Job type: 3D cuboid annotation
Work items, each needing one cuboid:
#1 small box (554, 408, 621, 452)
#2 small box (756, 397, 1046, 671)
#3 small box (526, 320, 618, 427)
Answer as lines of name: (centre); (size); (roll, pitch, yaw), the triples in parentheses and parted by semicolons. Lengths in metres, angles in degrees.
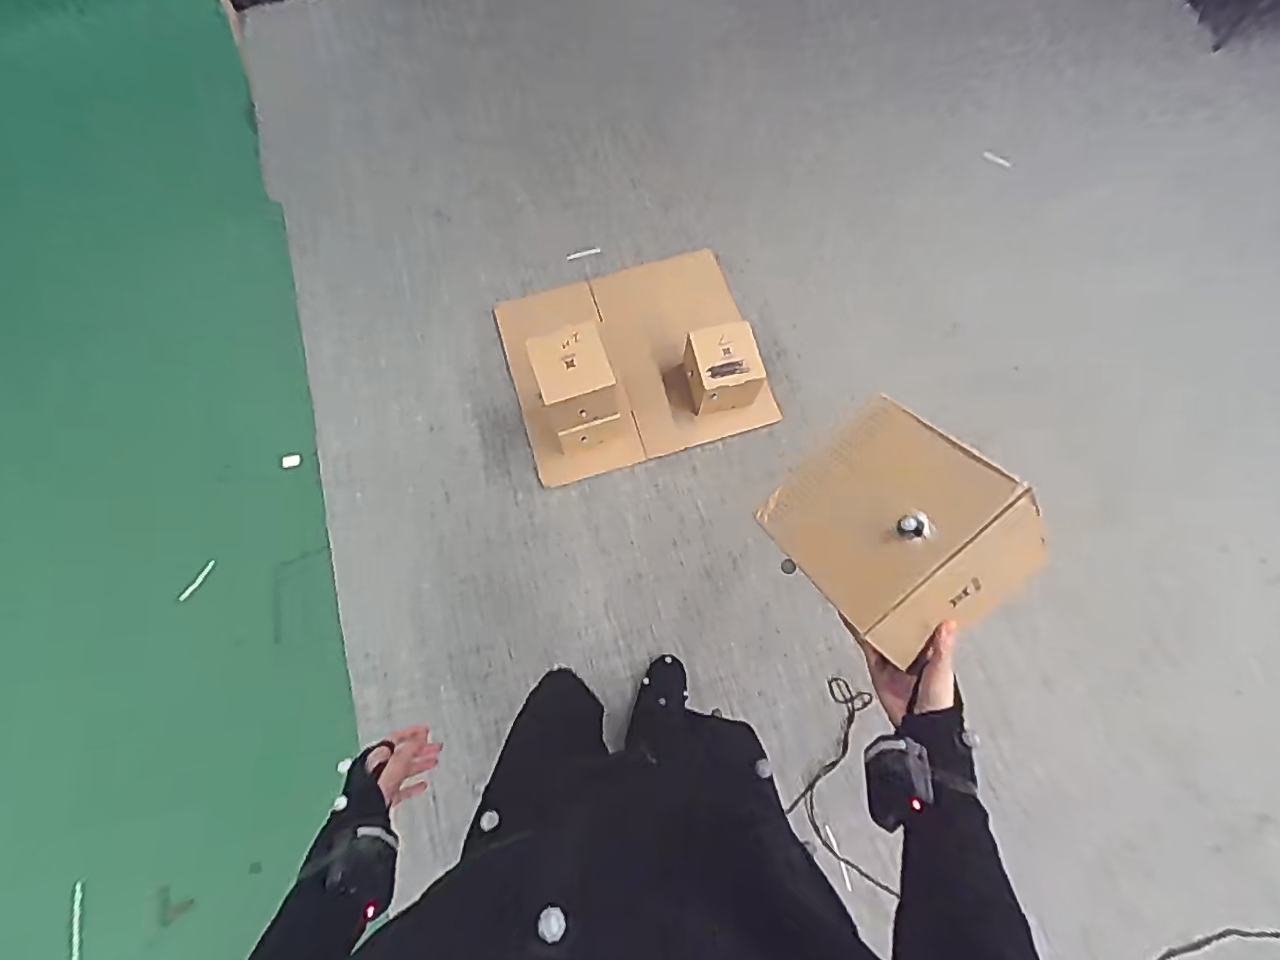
small box: (-0.151, -0.187, 1.430); (0.168, 0.176, 0.179); (-18, 73, -6)
small box: (0.250, 0.050, 0.530); (0.179, 0.168, 0.176); (-45, 44, 7)
small box: (-0.154, -0.240, 1.274); (0.168, 0.176, 0.179); (-18, 74, -6)
